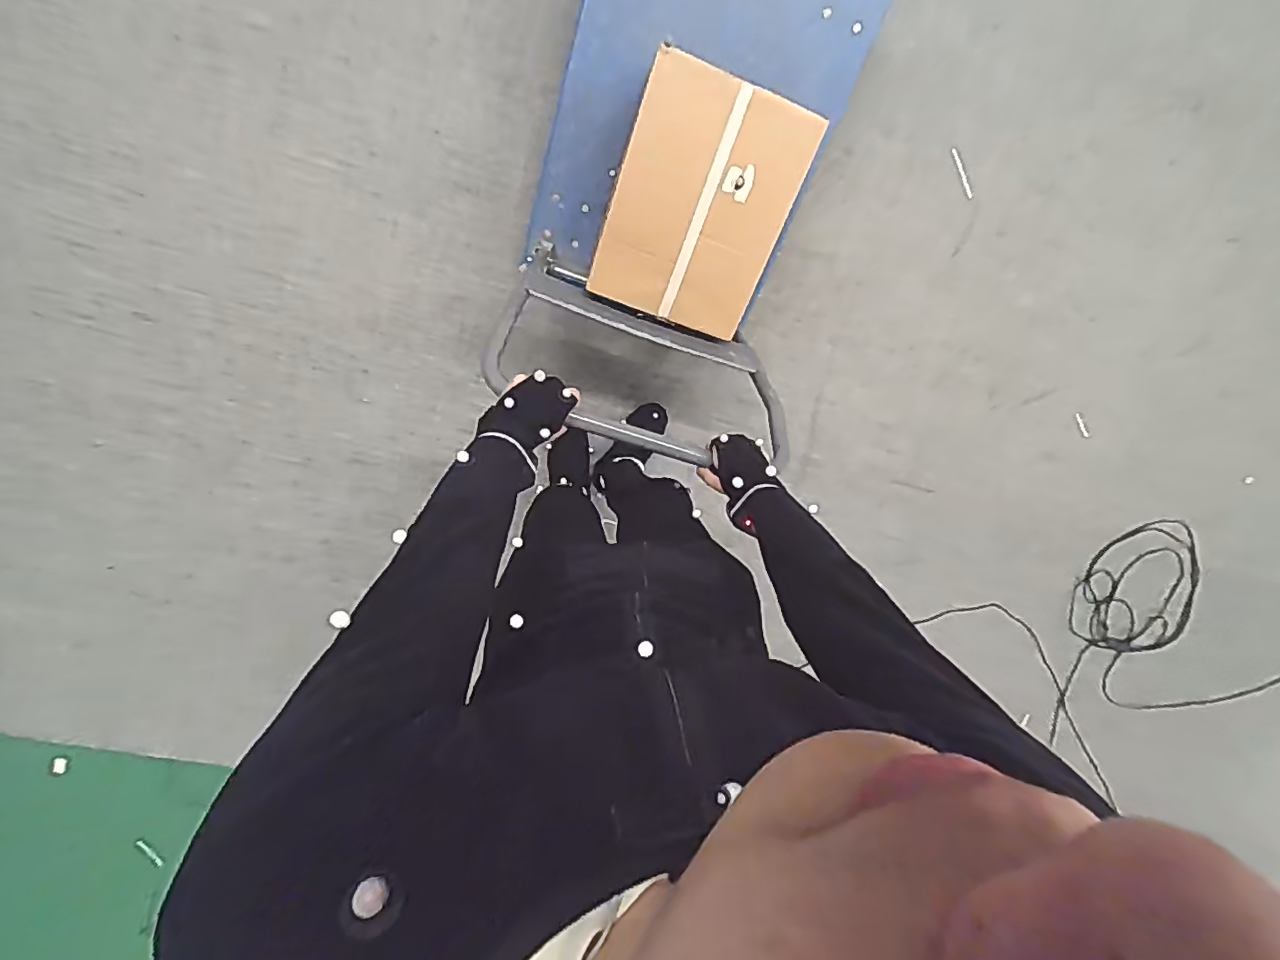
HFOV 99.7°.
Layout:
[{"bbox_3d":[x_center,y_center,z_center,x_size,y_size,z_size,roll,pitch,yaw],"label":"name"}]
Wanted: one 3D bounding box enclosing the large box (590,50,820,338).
[{"bbox_3d":[0.100,-0.561,1.119,0.320,0.320,0.408,16,117,-12],"label":"large box"}]
